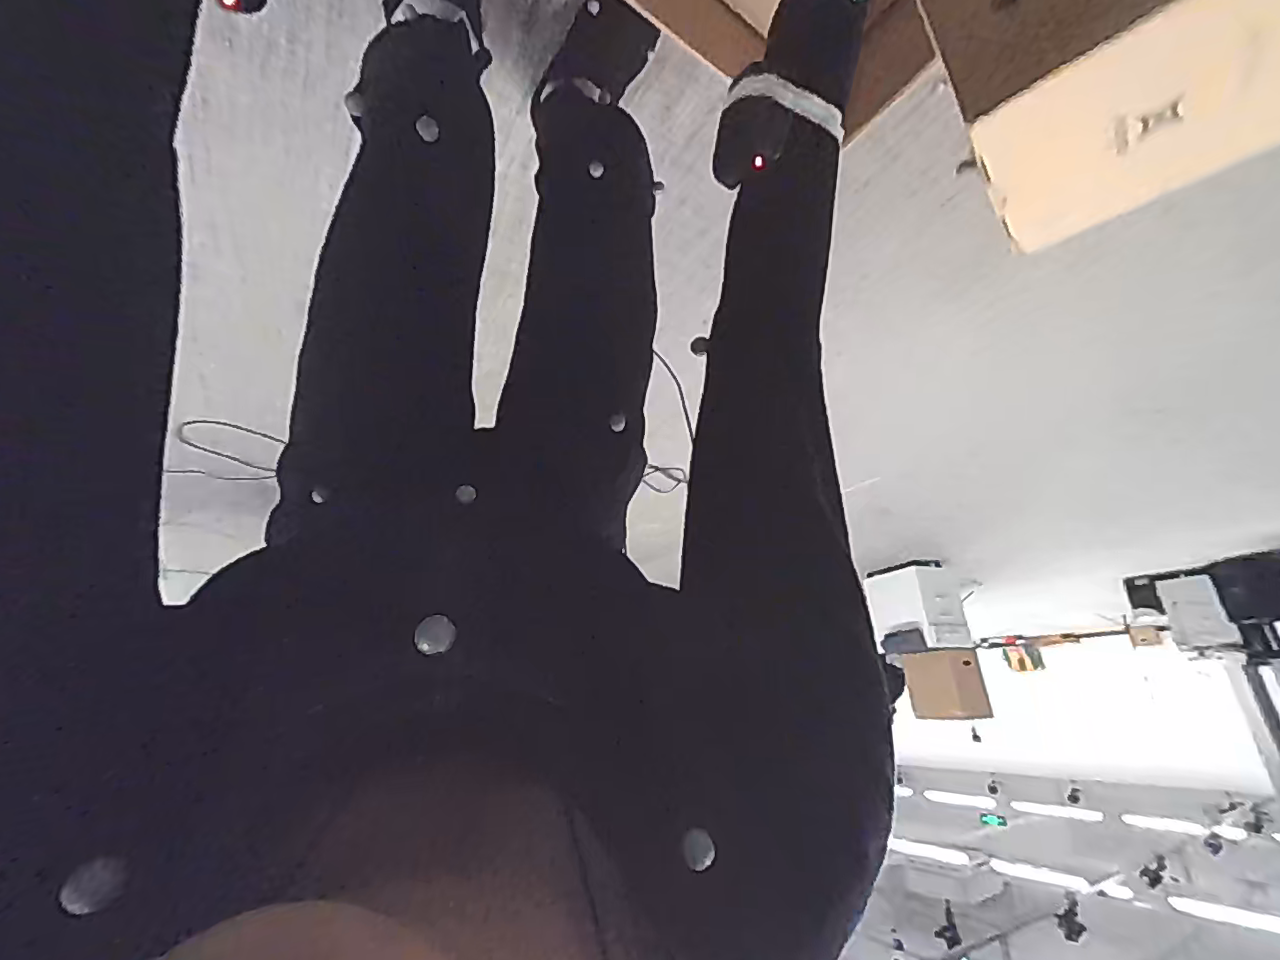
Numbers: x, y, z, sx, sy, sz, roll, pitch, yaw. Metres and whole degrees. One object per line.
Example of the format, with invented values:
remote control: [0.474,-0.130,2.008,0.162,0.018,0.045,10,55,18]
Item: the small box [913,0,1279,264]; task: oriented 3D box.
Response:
small box: [0.307,-0.297,0.373,0.179,0.176,0.168,-19,154,37]
